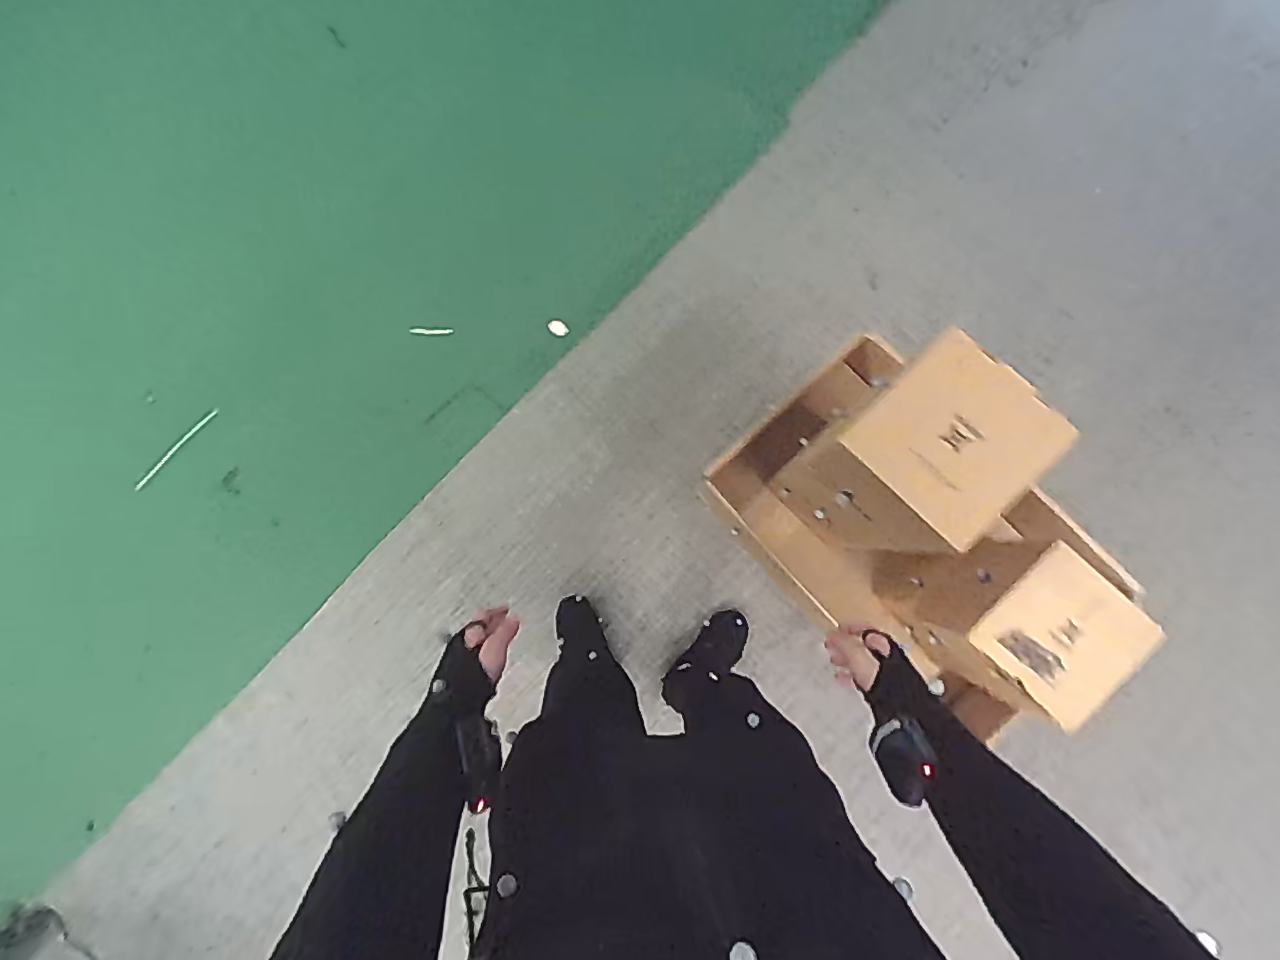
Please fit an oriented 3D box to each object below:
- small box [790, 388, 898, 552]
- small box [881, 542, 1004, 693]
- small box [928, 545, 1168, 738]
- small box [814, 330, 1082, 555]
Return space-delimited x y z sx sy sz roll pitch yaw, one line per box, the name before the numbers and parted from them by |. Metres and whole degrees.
small box | 0.344 -0.013 0.787 0.179 0.176 0.168 -43 82 -2
small box | 0.546 0.218 0.910 0.179 0.176 0.168 -40 82 -1
small box | 0.535 0.208 0.746 0.179 0.176 0.168 -44 82 -2
small box | 0.331 -0.031 0.625 0.179 0.176 0.168 -43 81 -2
